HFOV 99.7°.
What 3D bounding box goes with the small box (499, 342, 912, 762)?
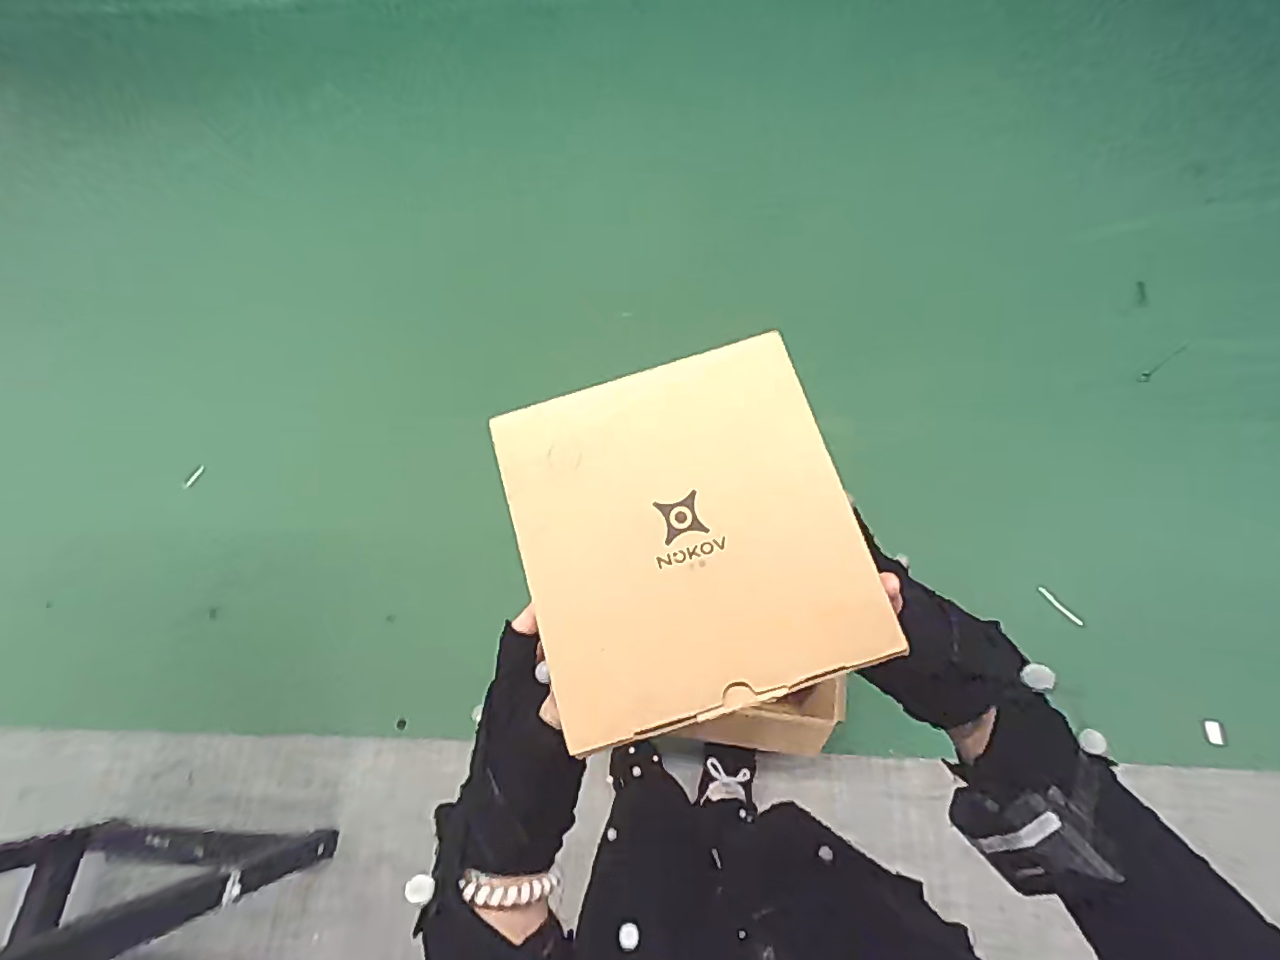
[{"bbox_3d":[0.028,0.046,0.346,0.168,0.176,0.179,-18,76,-2],"label":"small box"}]
